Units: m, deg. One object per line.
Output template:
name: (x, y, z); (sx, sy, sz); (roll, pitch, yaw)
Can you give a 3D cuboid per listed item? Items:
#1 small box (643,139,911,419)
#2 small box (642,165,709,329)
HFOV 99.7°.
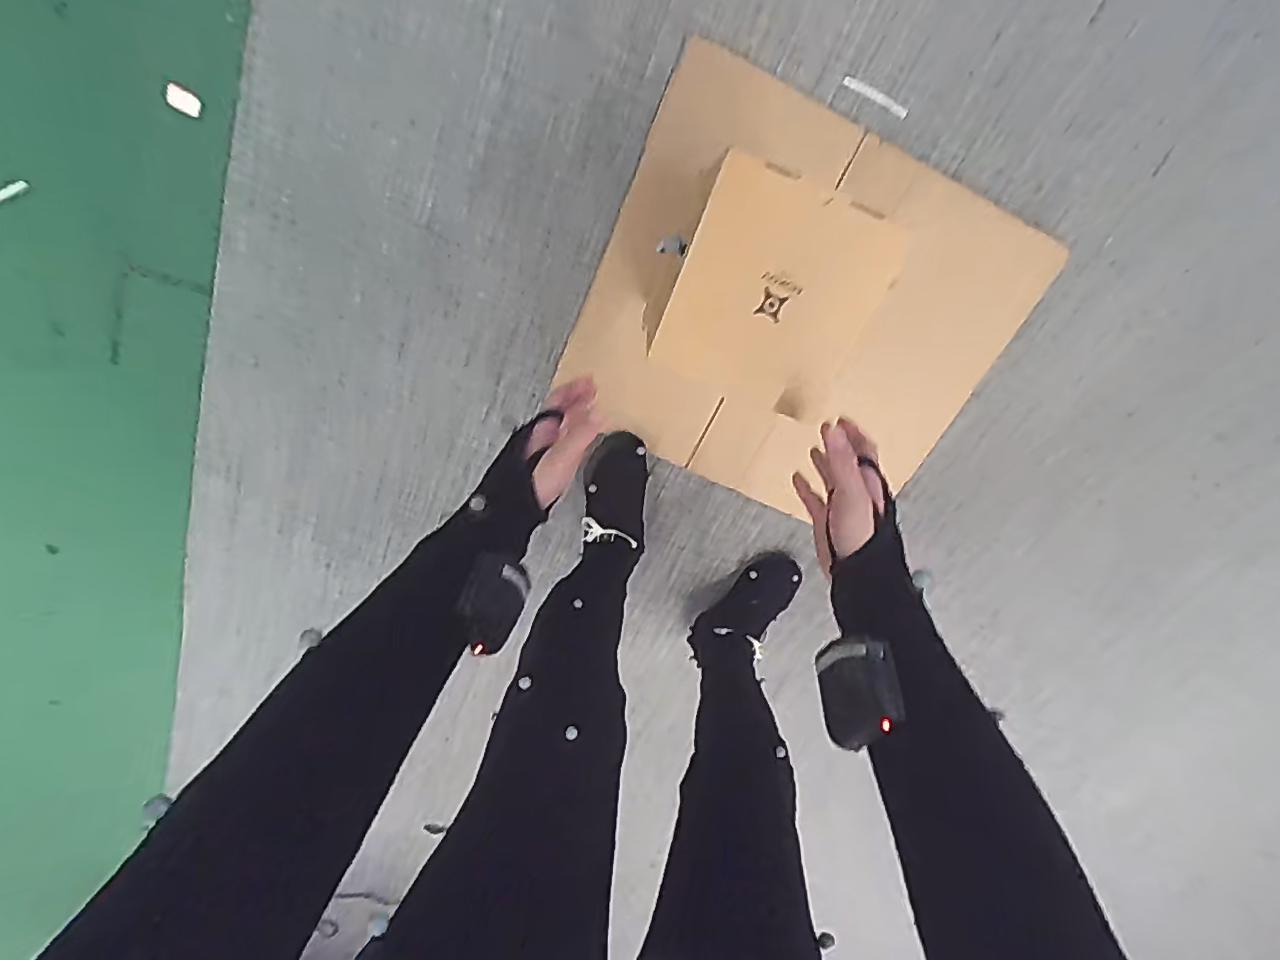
small box: (0.112, -0.187, 0.519); (0.168, 0.176, 0.179); (20, 113, -7)
small box: (0.111, -0.254, 0.666); (0.168, 0.176, 0.179); (19, 113, -7)
